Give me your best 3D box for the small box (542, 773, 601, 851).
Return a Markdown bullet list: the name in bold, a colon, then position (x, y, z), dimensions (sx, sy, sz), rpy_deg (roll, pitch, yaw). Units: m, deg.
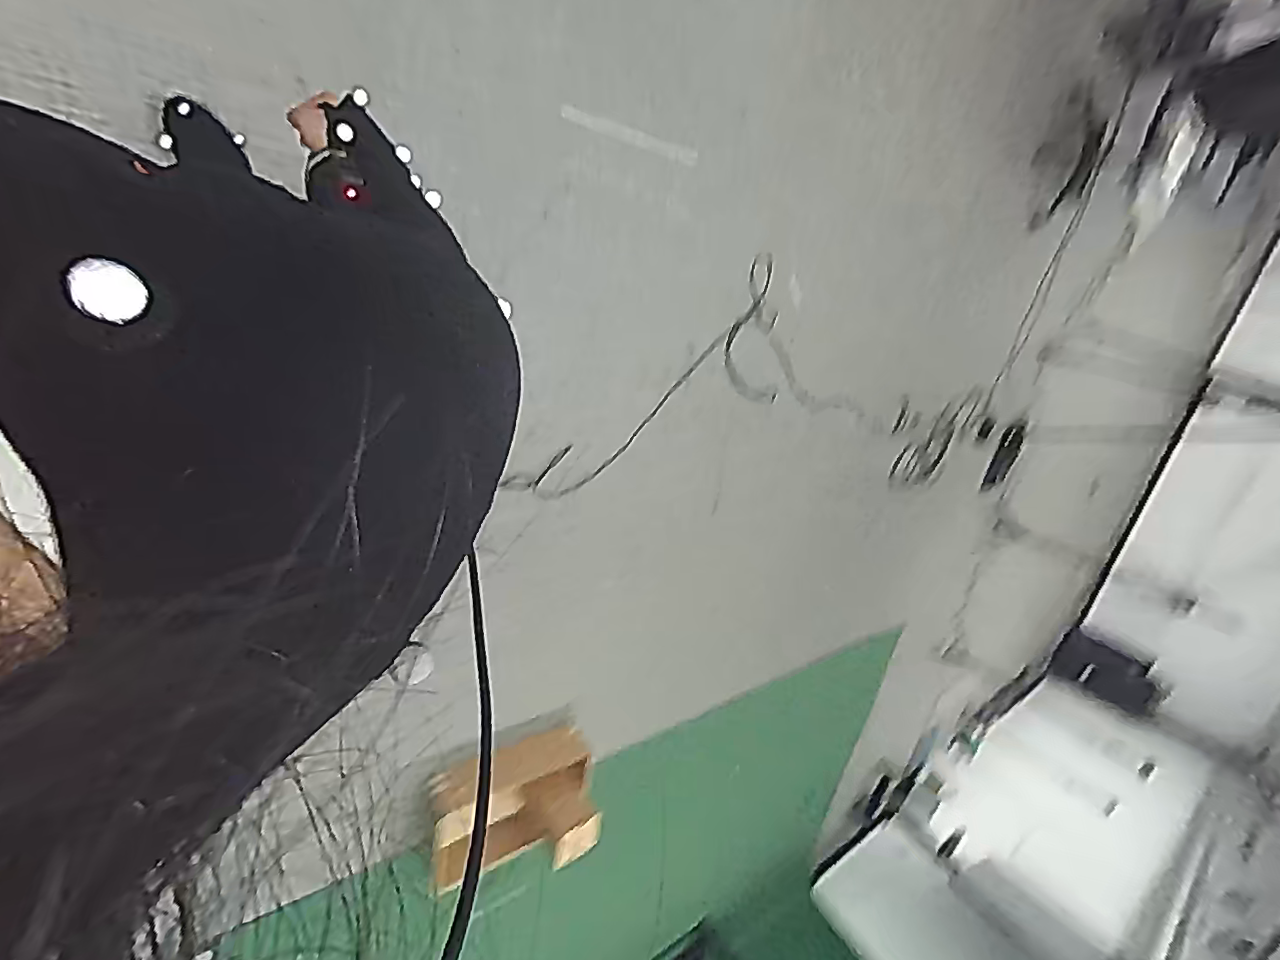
- **small box**: position (-0.271, 1.285, 2.113), dimensions (0.168, 0.176, 0.179), rpy_deg (-9, 116, -35)
